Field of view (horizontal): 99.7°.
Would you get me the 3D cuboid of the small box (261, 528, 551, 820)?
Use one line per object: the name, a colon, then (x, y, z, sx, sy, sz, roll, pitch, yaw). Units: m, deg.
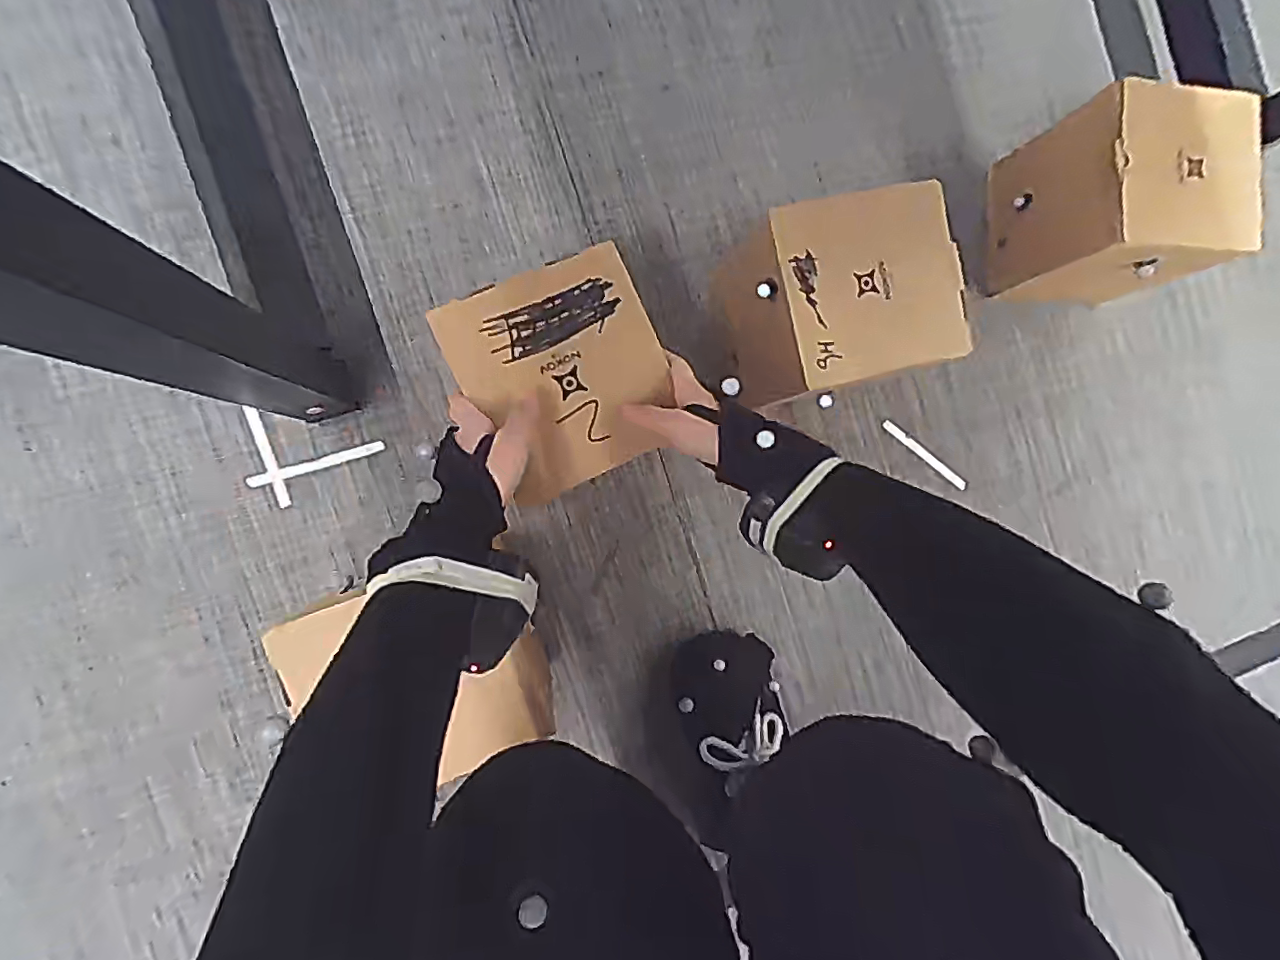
small box: (-0.192, 0.156, 0.500, 0.179, 0.176, 0.168, -22, 96, -10)

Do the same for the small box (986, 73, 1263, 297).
small box: (0.543, -0.319, 0.624, 0.179, 0.176, 0.168, -1, 91, -9)

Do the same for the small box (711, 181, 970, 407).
small box: (0.194, -0.179, 0.563, 0.179, 0.176, 0.168, -14, 93, -10)
